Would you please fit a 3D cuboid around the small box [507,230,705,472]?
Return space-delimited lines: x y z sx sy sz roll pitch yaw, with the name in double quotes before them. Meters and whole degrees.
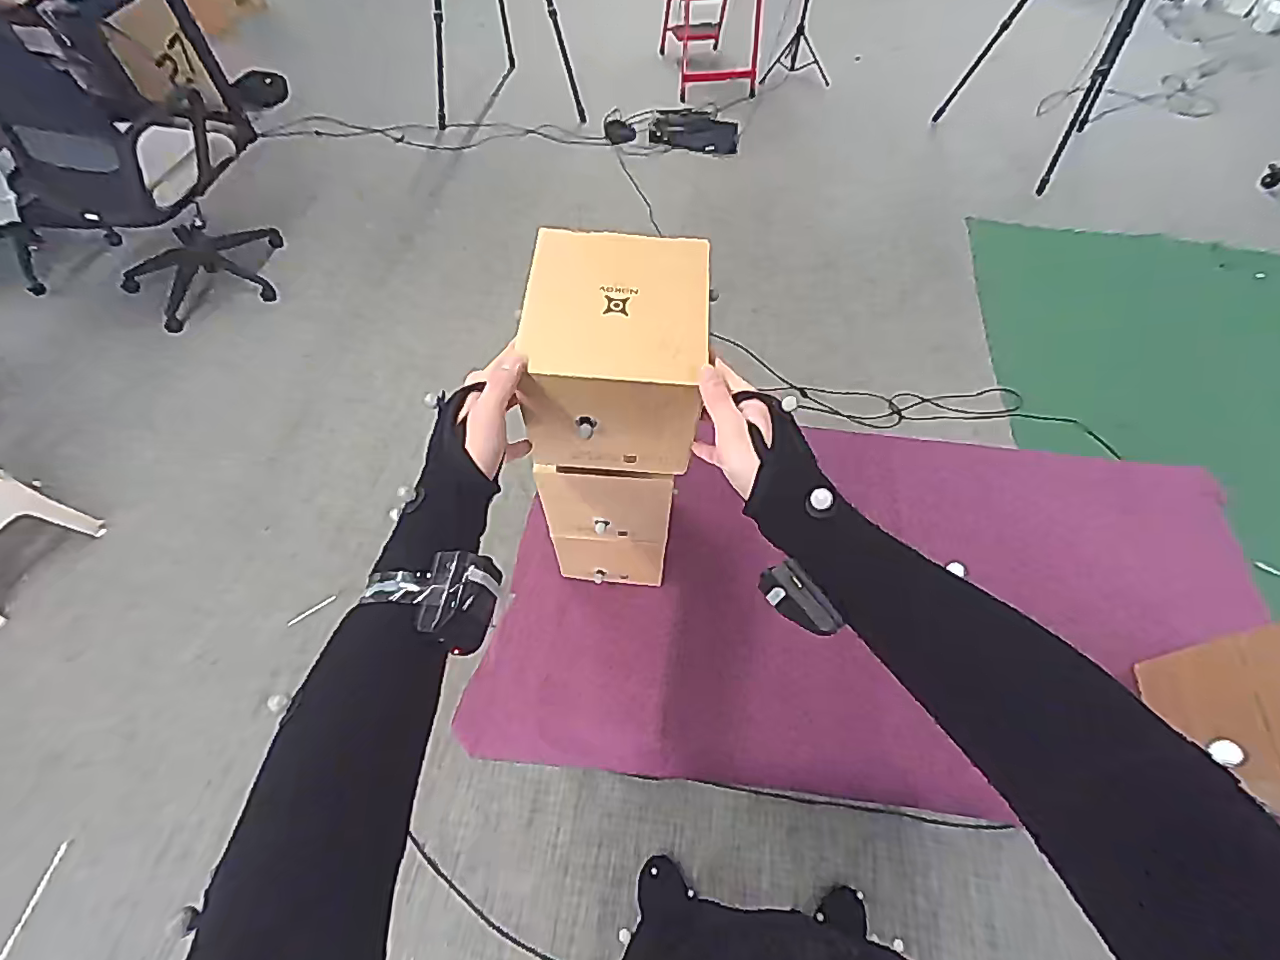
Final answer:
"small box" -0.026 -0.122 0.554 0.168 0.176 0.179 4 63 -1

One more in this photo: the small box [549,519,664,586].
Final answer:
"small box" -0.041 0.052 0.870 0.168 0.176 0.179 5 59 3

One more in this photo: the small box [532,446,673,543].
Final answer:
"small box" -0.038 -0.034 0.730 0.168 0.176 0.179 4 59 3
